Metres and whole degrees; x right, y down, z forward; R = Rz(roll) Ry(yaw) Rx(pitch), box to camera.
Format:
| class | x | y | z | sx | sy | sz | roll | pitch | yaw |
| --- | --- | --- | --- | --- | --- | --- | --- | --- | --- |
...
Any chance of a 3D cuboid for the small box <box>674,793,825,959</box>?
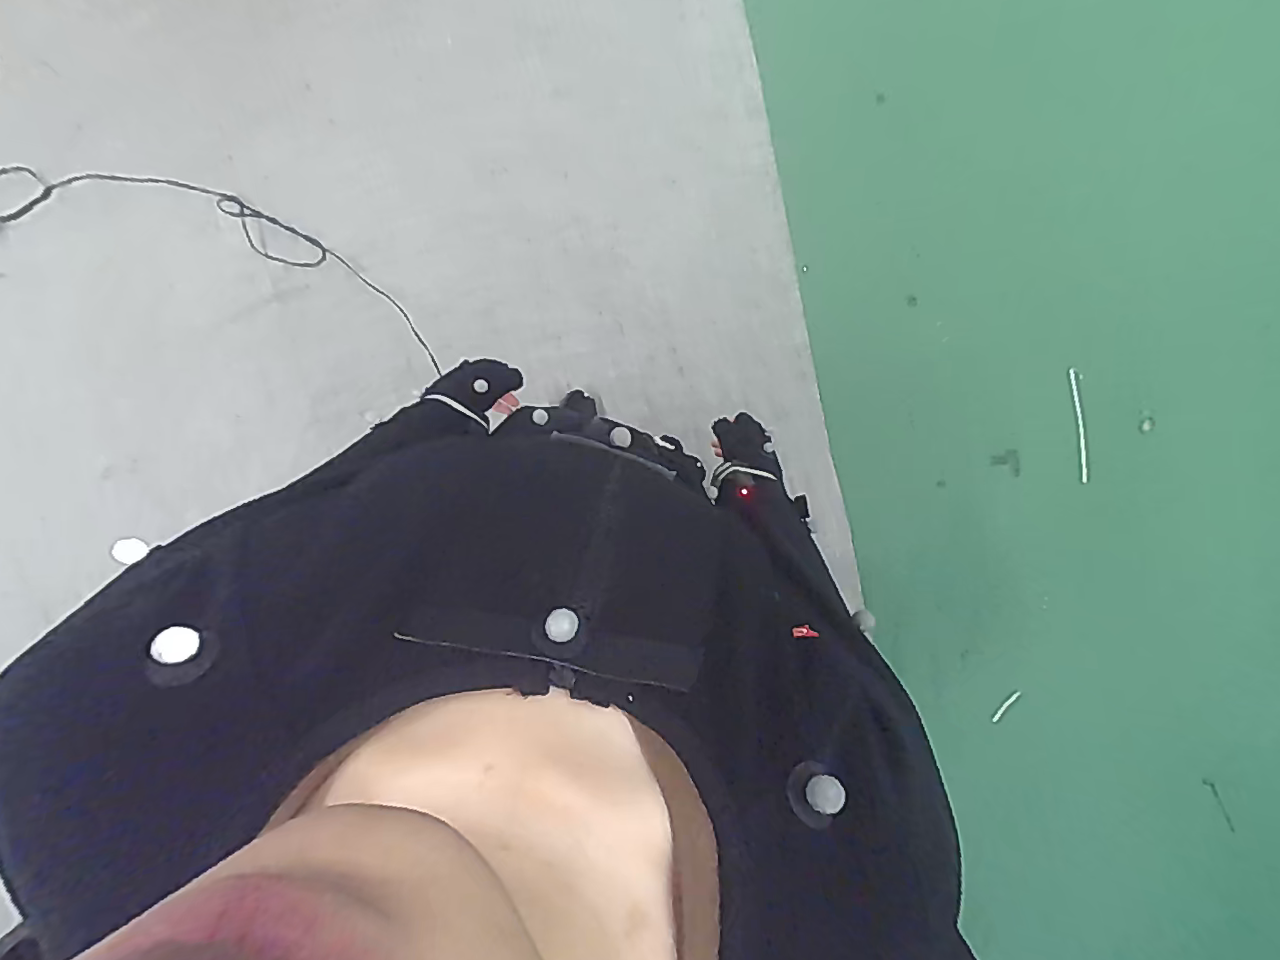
| class | x | y | z | sx | sy | sz | roll | pitch | yaw |
| --- | --- | --- | --- | --- | --- | --- | --- | --- | --- |
| small box | 0.144 | 0.564 | 0.745 | 0.168 | 0.176 | 0.179 | -12 | 99 | 4 |
